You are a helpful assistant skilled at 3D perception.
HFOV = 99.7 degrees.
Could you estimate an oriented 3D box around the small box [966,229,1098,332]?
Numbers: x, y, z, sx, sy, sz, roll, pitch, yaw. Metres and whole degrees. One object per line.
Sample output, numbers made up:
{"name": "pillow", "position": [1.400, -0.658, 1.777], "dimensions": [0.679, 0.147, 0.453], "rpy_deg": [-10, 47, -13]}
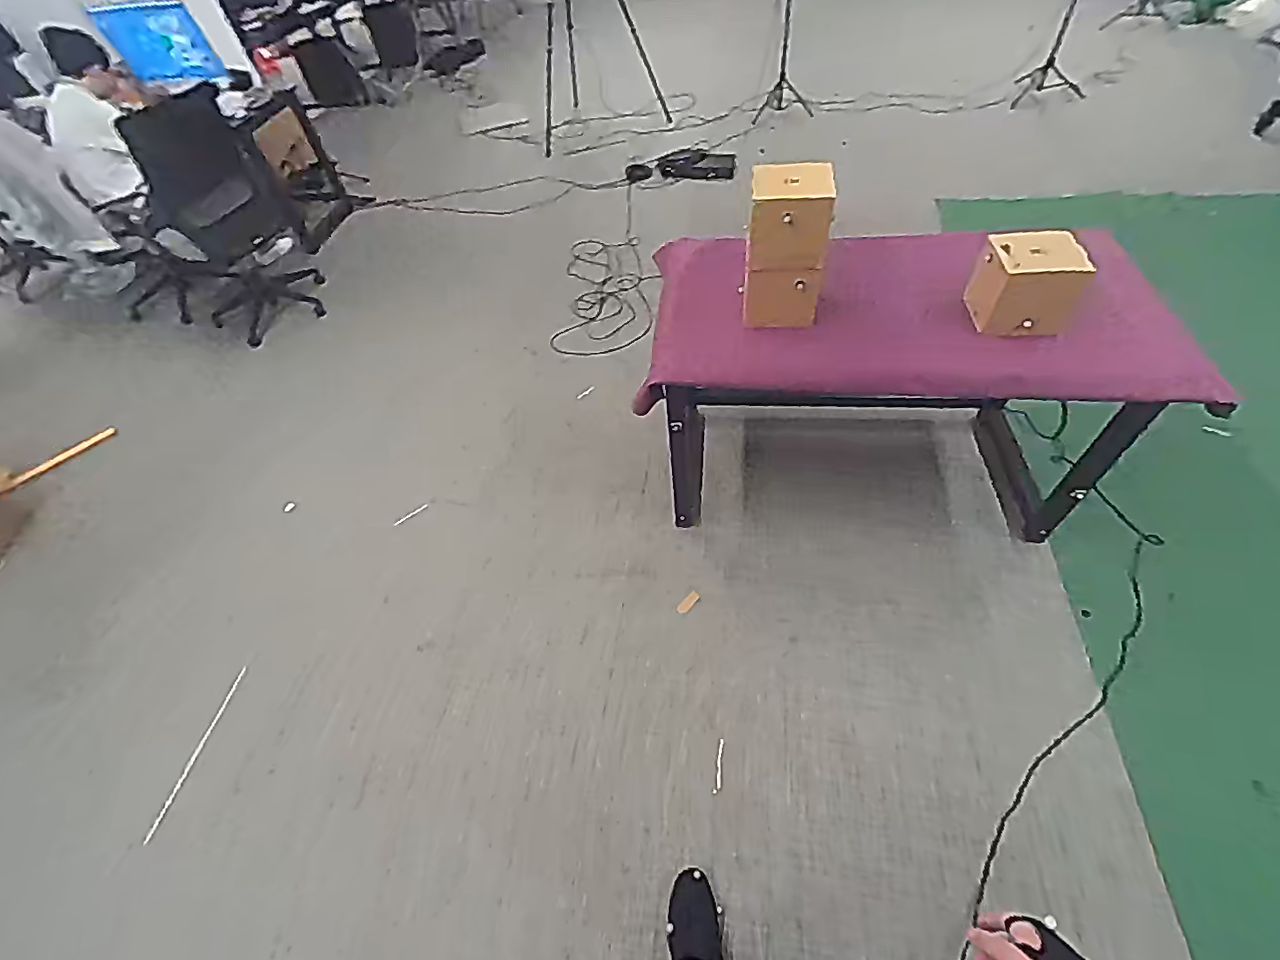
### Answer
{"name": "small box", "position": [0.903, -0.462, 1.265], "dimensions": [0.179, 0.176, 0.168], "rpy_deg": [2, 52, 9]}

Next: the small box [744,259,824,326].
{"name": "small box", "position": [0.362, -0.508, 1.377], "dimensions": [0.179, 0.176, 0.168], "rpy_deg": [3, 52, 10]}

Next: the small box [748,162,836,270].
{"name": "small box", "position": [0.344, -0.604, 1.248], "dimensions": [0.179, 0.176, 0.168], "rpy_deg": [2, 53, 10]}
